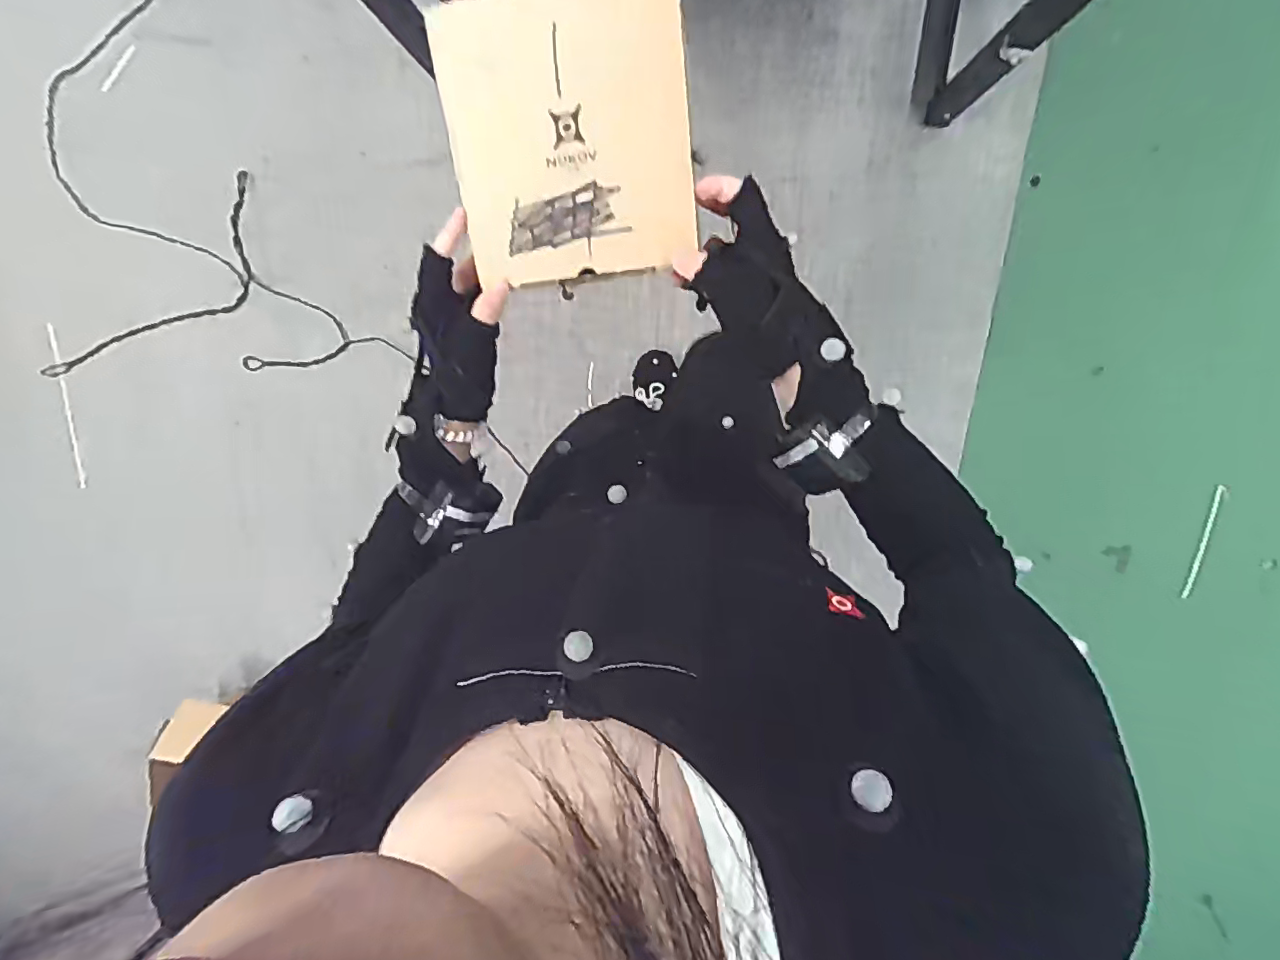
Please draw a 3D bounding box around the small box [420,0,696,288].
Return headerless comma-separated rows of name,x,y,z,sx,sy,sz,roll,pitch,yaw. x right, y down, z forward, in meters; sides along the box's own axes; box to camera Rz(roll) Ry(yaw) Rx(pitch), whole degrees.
small box,-0.043,-0.257,0.437,0.168,0.176,0.179,-4,110,8
